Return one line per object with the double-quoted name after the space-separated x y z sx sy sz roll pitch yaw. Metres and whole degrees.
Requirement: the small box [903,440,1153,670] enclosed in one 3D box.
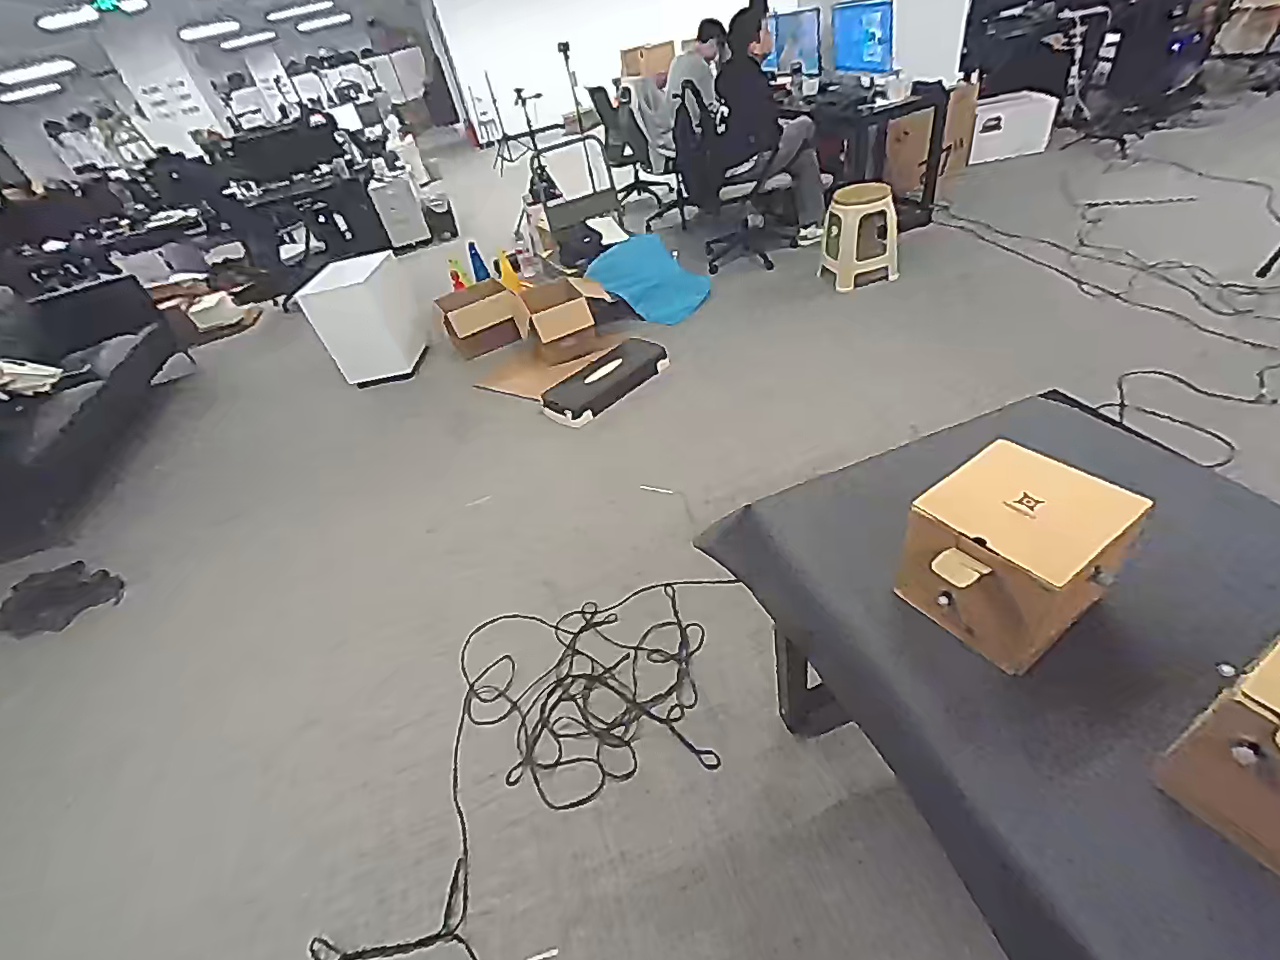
0.444 0.087 0.651 0.179 0.176 0.168 -30 43 -18 "small box"
